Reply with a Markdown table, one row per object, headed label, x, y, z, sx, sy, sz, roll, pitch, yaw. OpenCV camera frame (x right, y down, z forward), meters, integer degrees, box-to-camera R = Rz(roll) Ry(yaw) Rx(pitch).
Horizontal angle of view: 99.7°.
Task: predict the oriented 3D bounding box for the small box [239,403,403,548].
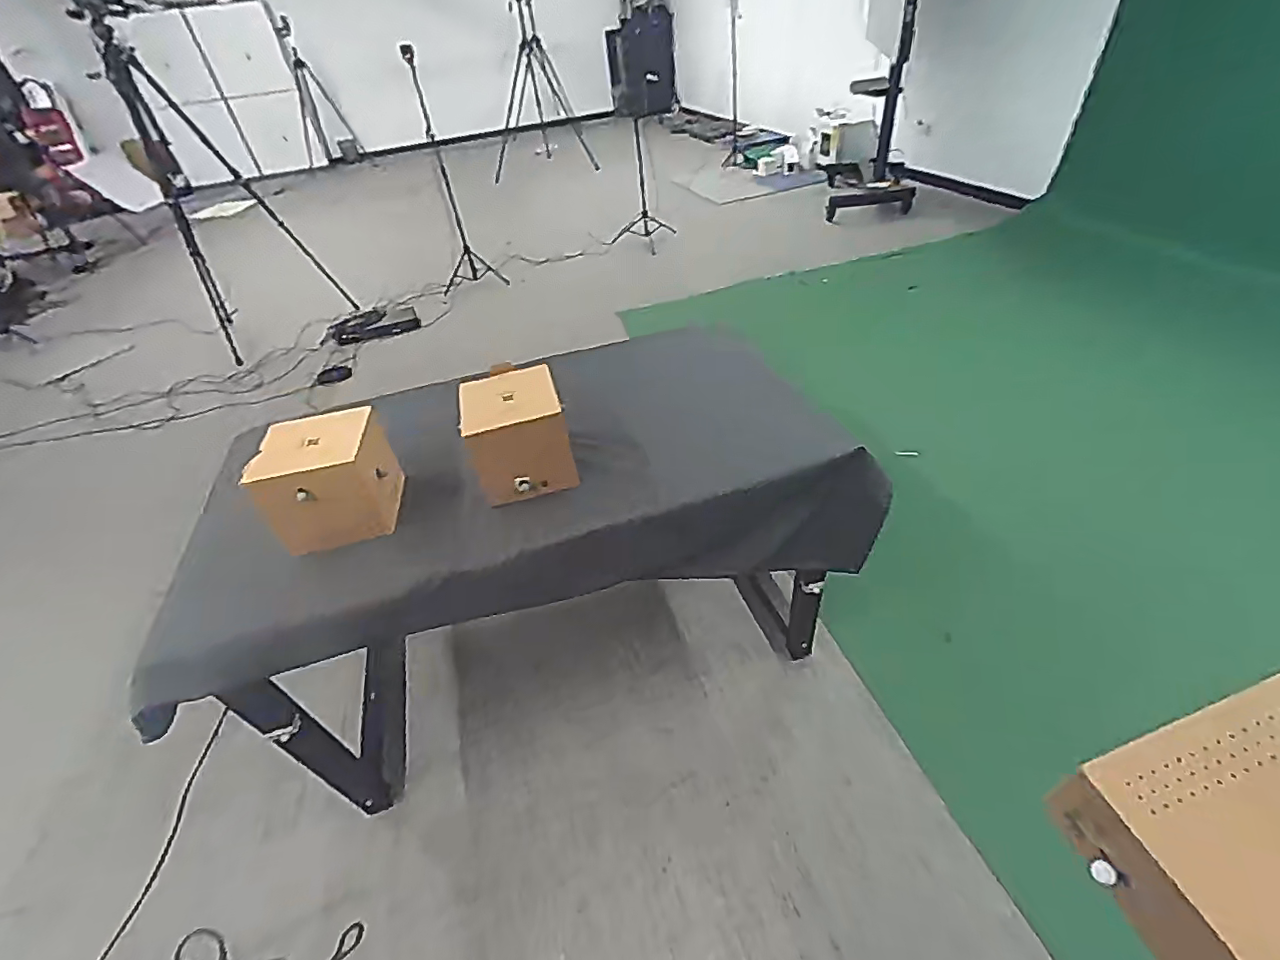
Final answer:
| label | x | y | z | sx | sy | sz | roll | pitch | yaw |
| --- | --- | --- | --- | --- | --- | --- | --- | --- | --- |
| small box | -0.531 | -0.008 | 0.935 | 0.179 | 0.176 | 0.168 | -12 | 41 | -6 |

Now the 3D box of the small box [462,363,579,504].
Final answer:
| label | x | y | z | sx | sy | sz | roll | pitch | yaw |
| --- | --- | --- | --- | --- | --- | --- | --- | --- | --- |
| small box | -0.216 | -0.085 | 0.984 | 0.168 | 0.176 | 0.179 | -16 | 42 | -9 |
